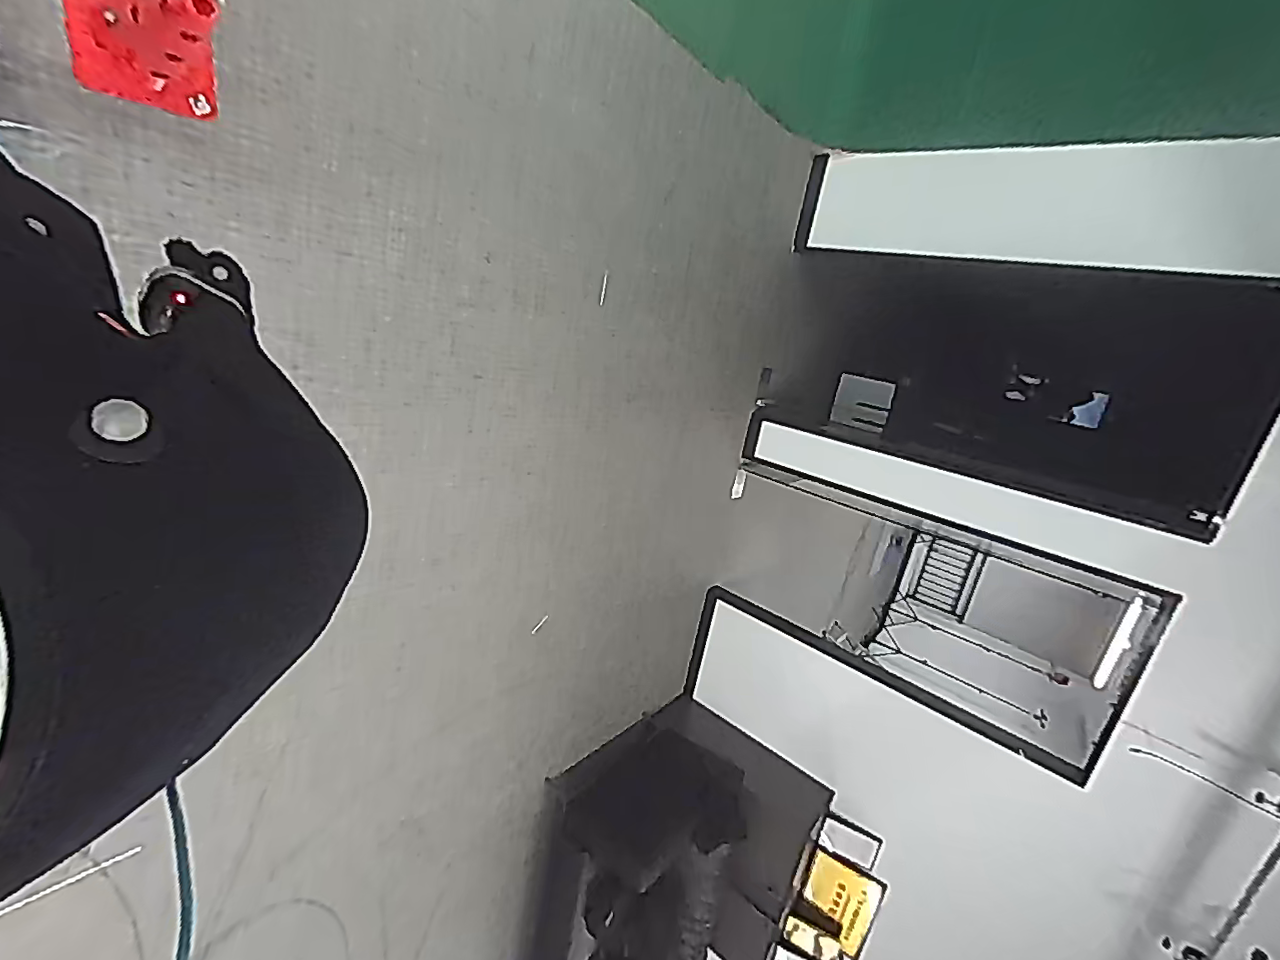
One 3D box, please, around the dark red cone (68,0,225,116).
[{"bbox_3d":[-0.741,-0.732,0.859,0.202,0.394,0.201,-16,119,-48],"label":"dark red cone"}]
